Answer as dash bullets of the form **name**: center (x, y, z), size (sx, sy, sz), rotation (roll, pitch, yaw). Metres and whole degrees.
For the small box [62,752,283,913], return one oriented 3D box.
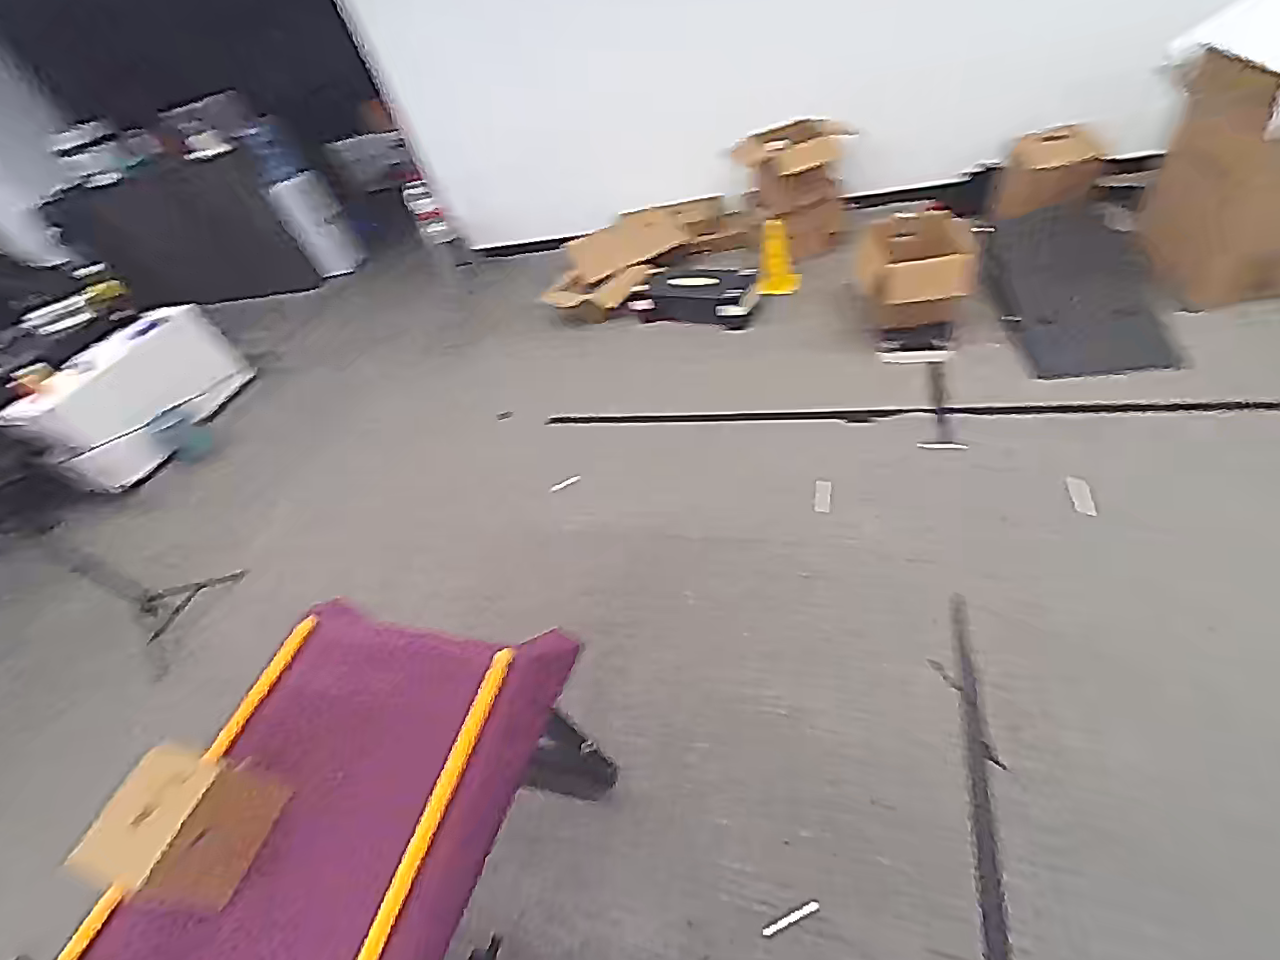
- **small box**: center (-0.739, 0.573, 0.878), size (0.168, 0.176, 0.179), rotation (3, 50, 19)
